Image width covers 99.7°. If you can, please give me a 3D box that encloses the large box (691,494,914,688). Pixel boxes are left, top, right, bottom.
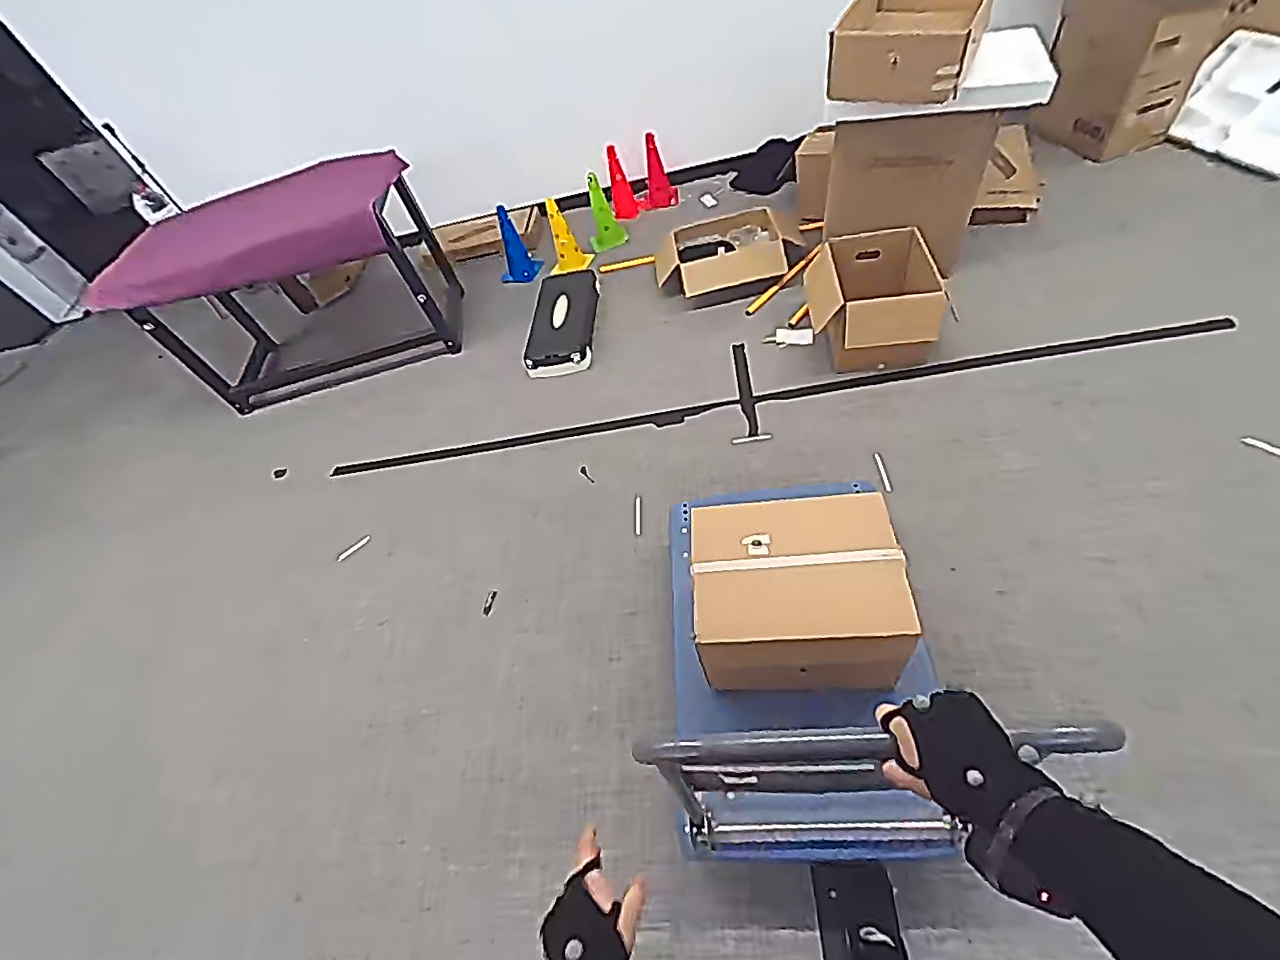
[{"bbox_3d":[0.339,0.261,1.212,0.408,0.320,0.320,-6,51,11],"label":"large box"}]
